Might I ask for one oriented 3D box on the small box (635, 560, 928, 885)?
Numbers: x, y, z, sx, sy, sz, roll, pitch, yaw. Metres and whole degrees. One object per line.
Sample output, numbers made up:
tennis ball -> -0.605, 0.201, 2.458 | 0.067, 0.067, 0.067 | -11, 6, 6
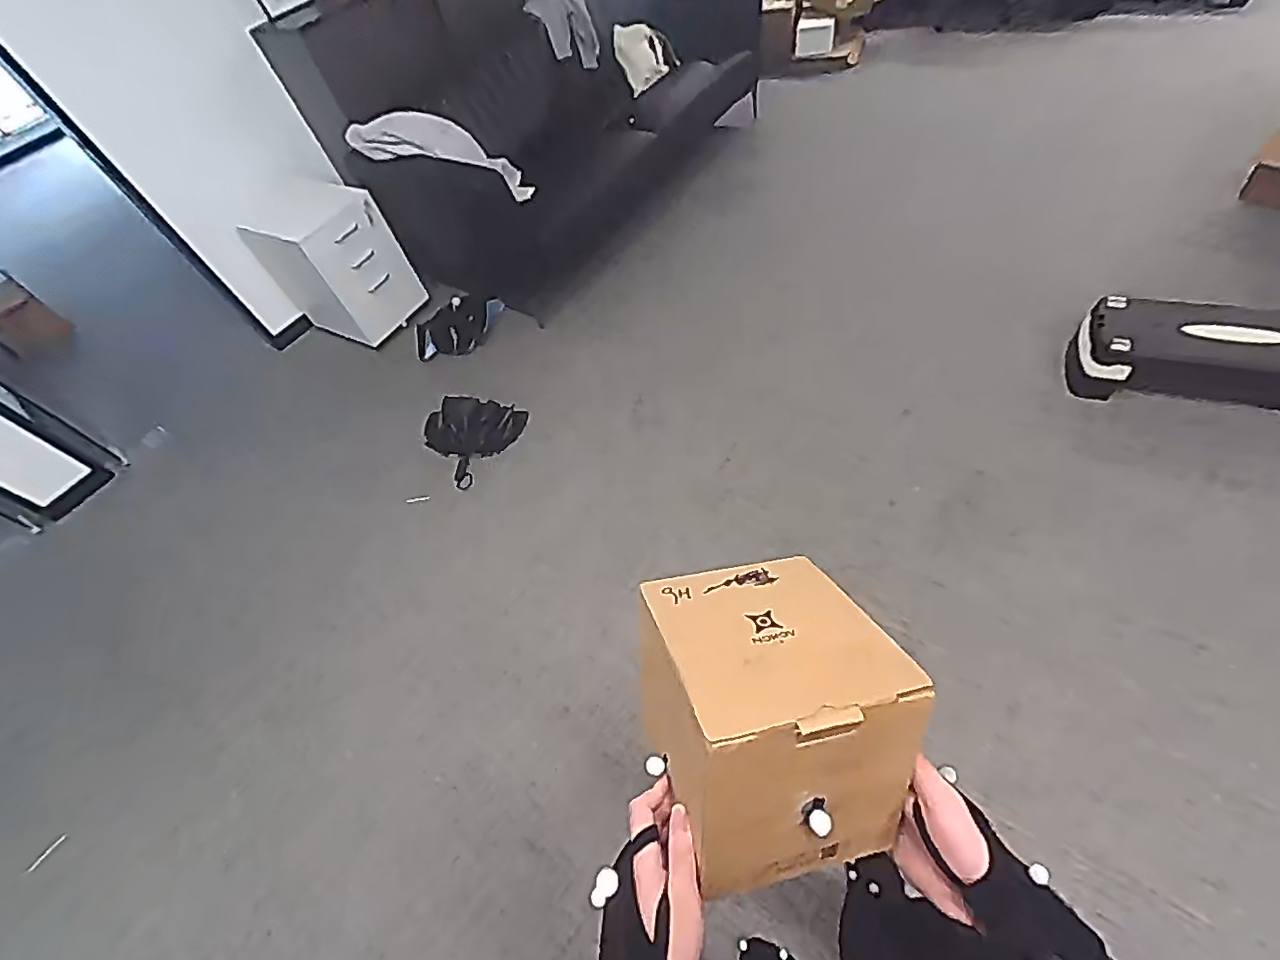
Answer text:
small box -> 0.096, 0.193, 0.448 | 0.168, 0.176, 0.179 | -7, 26, -12
